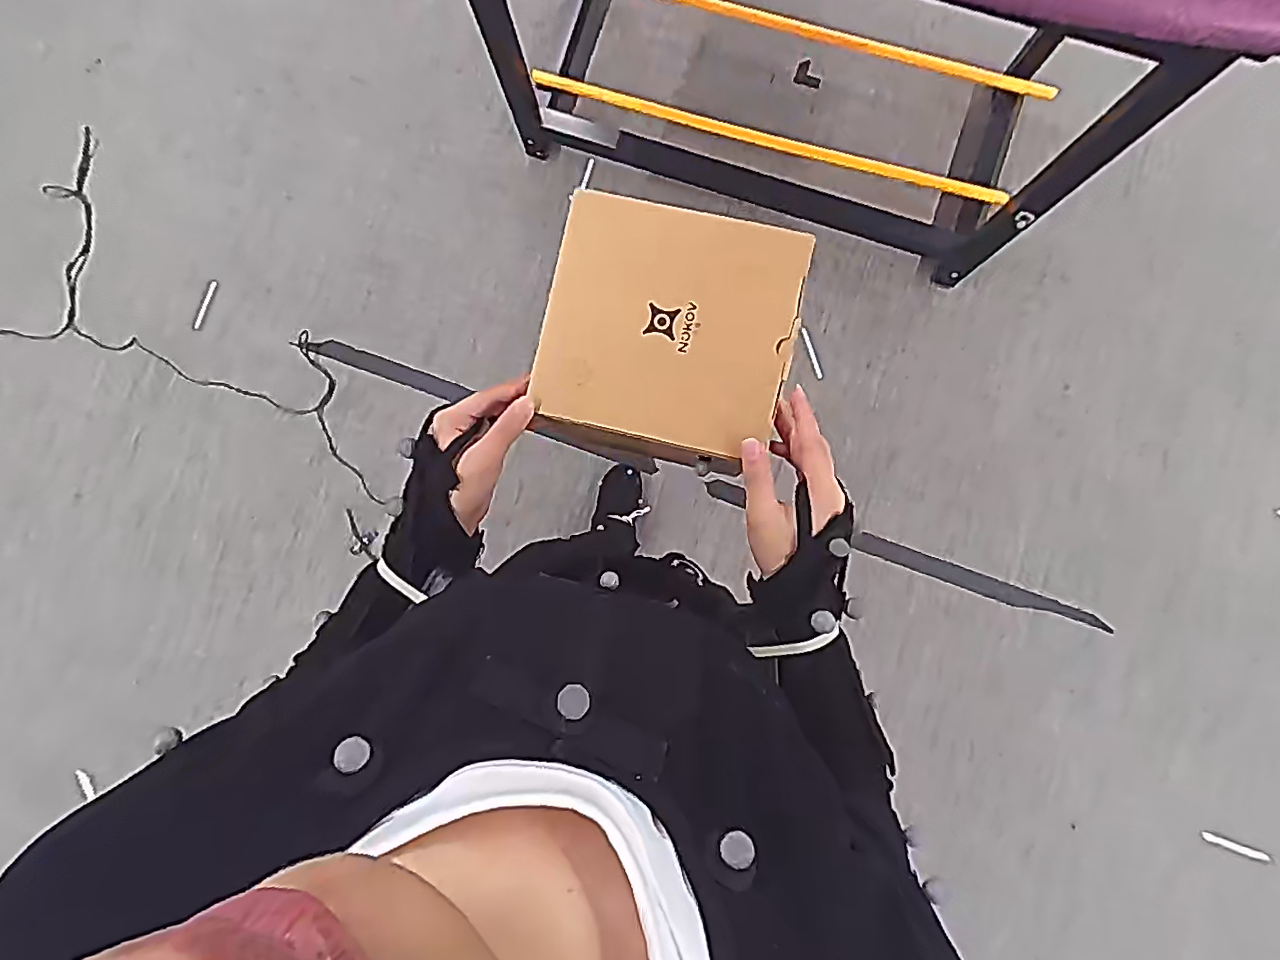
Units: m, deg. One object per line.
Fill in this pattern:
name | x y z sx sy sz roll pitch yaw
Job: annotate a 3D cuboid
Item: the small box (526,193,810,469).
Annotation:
small box | 0.023 -0.108 0.465 0.179 0.176 0.168 13 88 3
